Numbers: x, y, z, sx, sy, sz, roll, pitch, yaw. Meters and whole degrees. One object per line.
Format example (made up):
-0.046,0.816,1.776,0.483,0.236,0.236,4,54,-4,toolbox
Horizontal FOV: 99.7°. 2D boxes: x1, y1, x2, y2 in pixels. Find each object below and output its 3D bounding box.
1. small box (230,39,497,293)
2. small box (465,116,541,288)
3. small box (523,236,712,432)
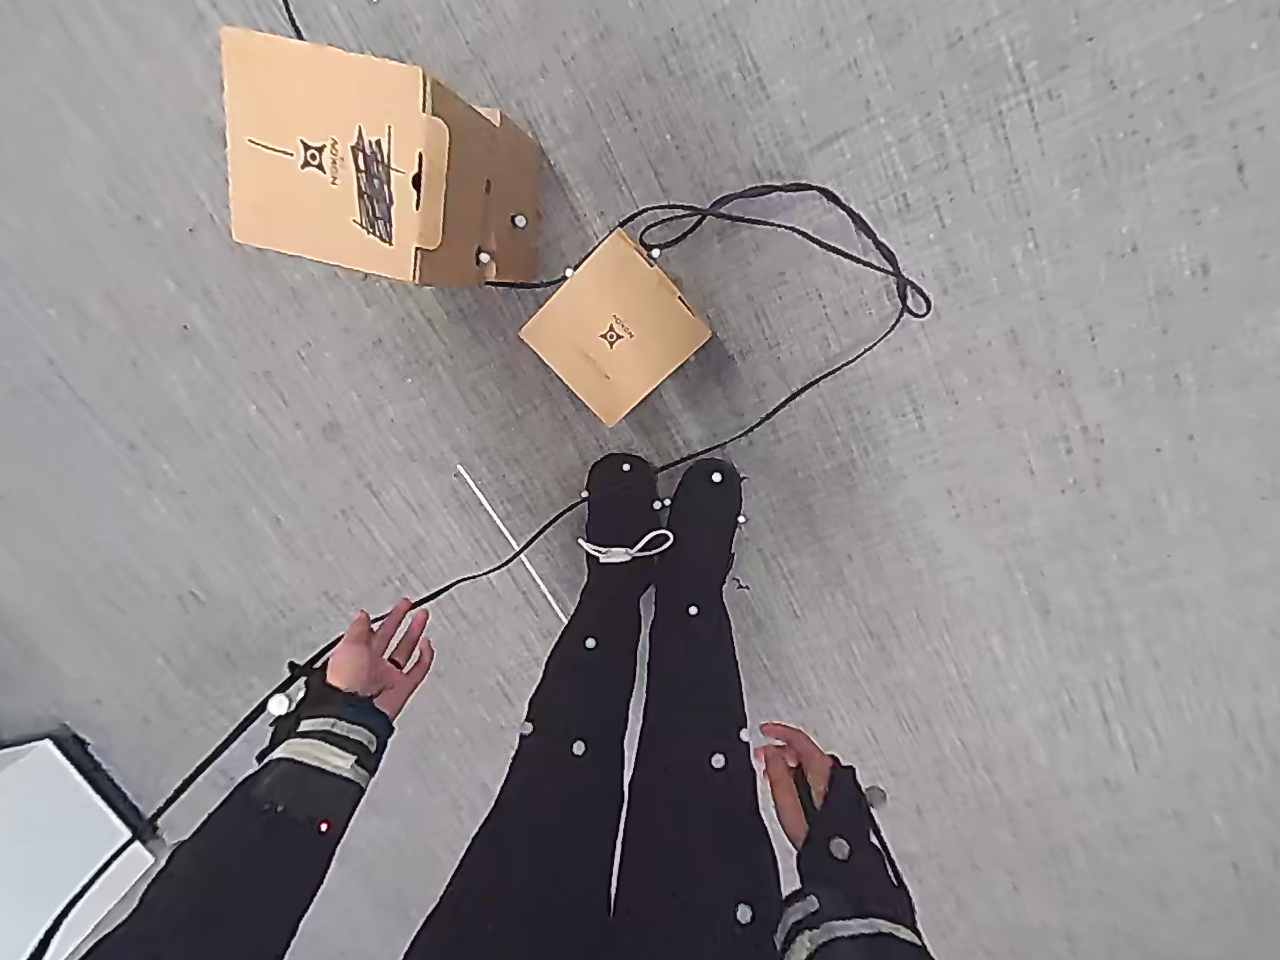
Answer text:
-0.258,-0.292,0.540,0.179,0.176,0.168,14,110,2,small box
-0.231,-0.348,0.693,0.168,0.176,0.179,9,110,3,small box
-0.023,-0.198,0.730,0.179,0.176,0.168,-41,100,17,small box
